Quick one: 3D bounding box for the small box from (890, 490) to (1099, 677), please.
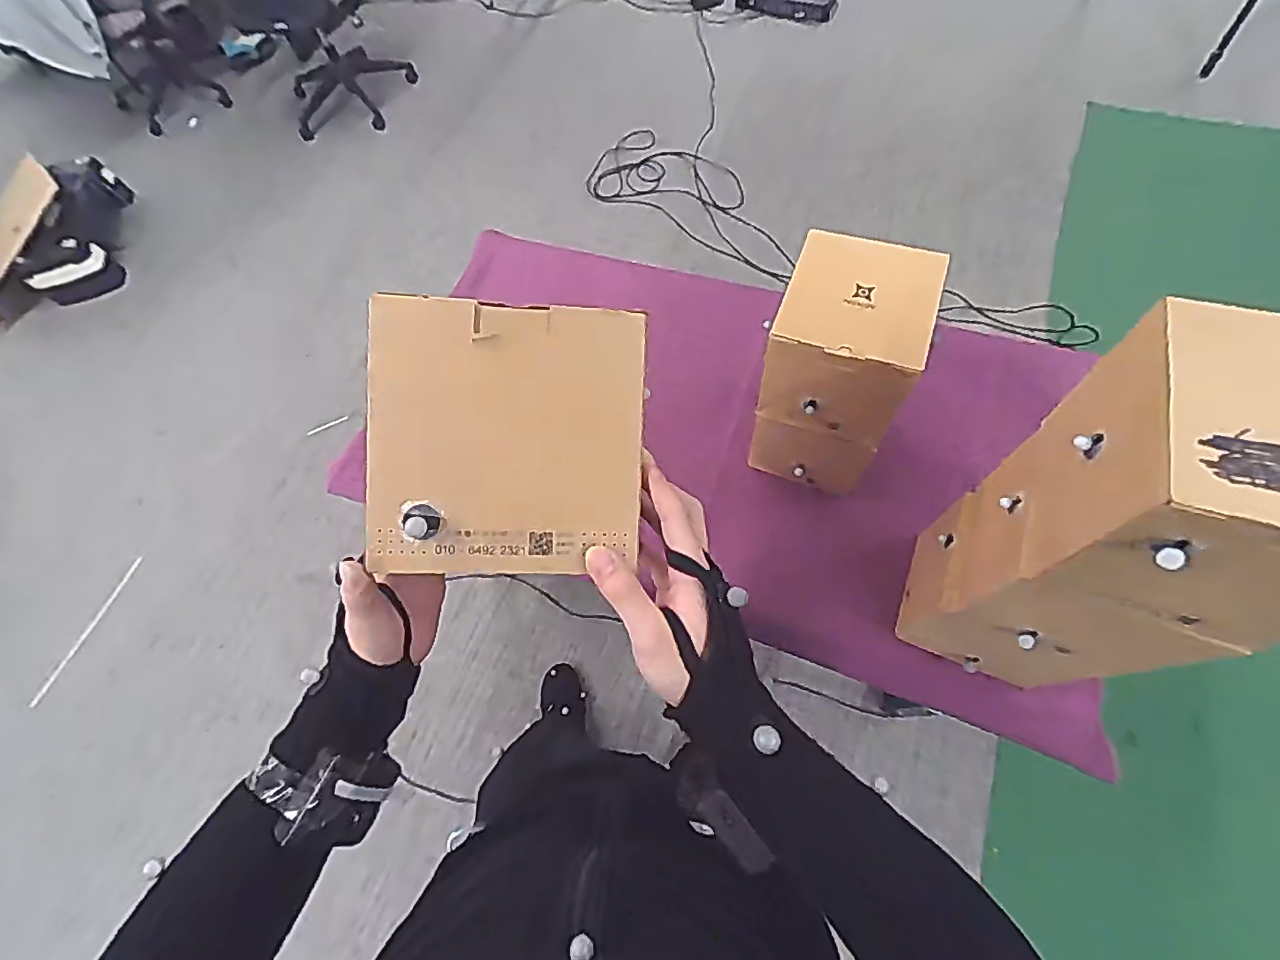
[{"bbox_3d":[0.457,0.142,0.702,0.179,0.176,0.168,21,68,15],"label":"small box"}]

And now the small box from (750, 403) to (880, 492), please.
[{"bbox_3d":[0.278,-0.109,0.836,0.168,0.176,0.179,21,69,15],"label":"small box"}]

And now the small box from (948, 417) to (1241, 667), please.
[{"bbox_3d":[0.445,0.070,0.555,0.168,0.176,0.179,20,68,16],"label":"small box"}]

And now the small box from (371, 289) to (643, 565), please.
[{"bbox_3d":[-0.089,-0.033,0.414,0.168,0.179,0.176,3,93,-7],"label":"small box"}]

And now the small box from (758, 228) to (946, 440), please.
[{"bbox_3d":[0.257,-0.179,0.690,0.168,0.176,0.179,18,70,13],"label":"small box"}]
